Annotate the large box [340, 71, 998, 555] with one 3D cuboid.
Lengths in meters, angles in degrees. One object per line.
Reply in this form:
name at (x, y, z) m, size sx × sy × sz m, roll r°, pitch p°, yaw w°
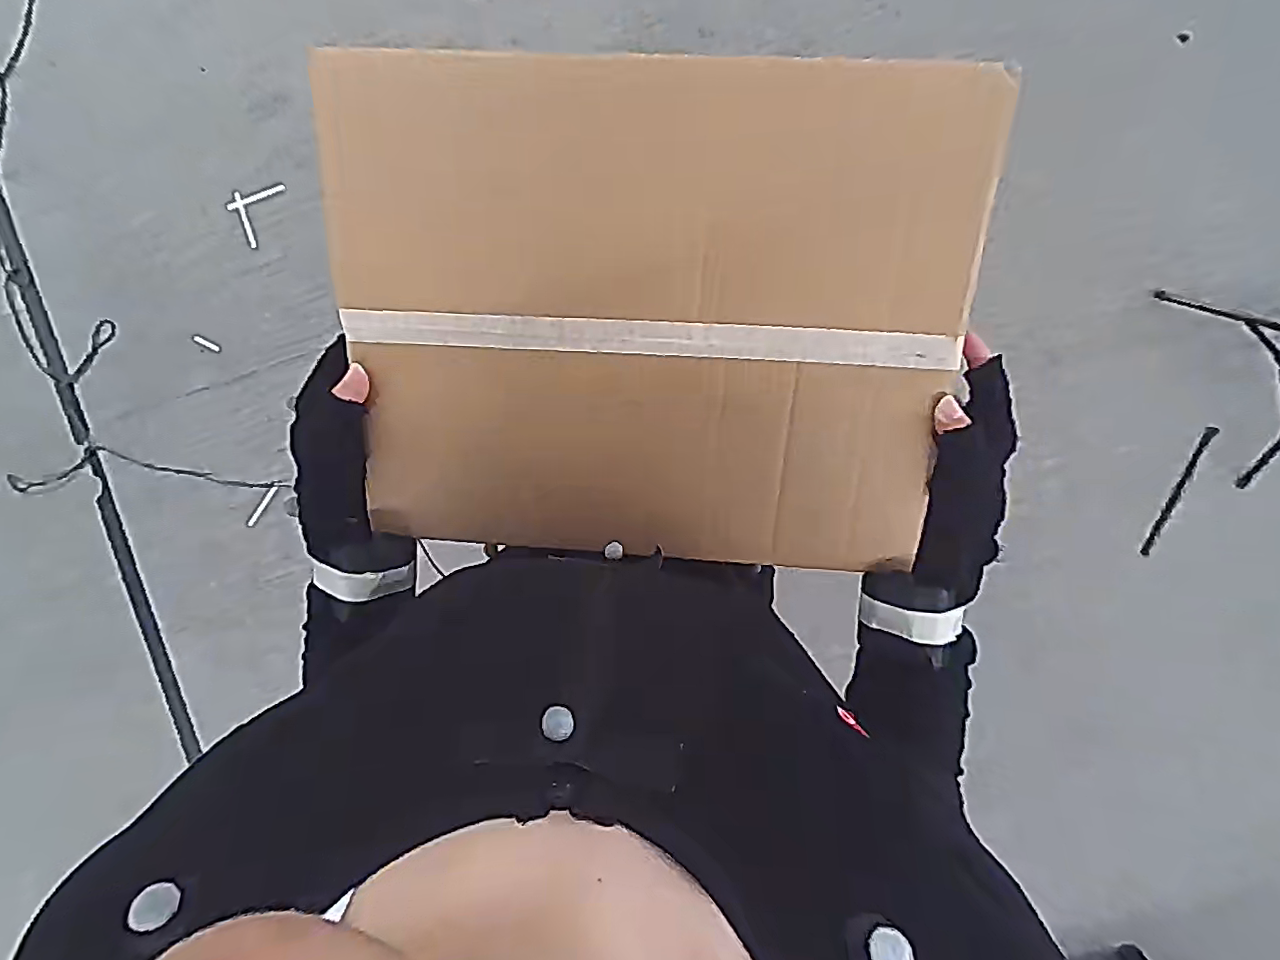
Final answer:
large box at (0.015, -0.143, 0.511) m, size 0.408 × 0.320 × 0.320 m, roll 3°, pitch 110°, yaw 3°
